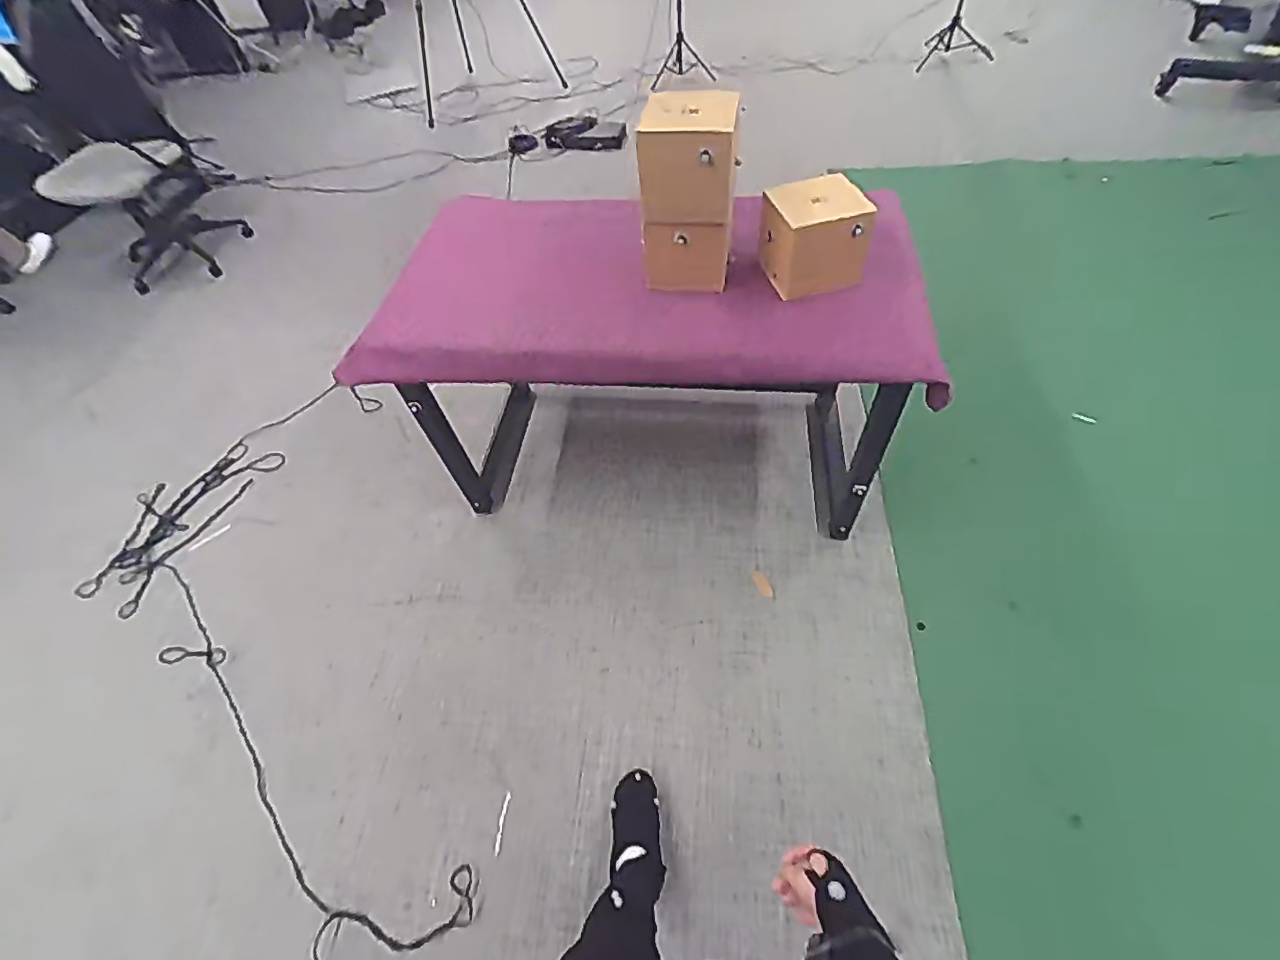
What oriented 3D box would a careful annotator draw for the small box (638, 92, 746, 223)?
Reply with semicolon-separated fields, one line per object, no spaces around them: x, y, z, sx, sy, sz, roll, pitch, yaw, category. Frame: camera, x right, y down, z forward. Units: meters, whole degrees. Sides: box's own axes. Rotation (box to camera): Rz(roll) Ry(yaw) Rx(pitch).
0.103;-0.619;1.046;0.179;0.176;0.168;7;55;11;small box

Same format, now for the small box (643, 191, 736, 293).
0.111;-0.531;1.185;0.179;0.176;0.168;7;56;10;small box

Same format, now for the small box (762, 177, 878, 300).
0.366;-0.505;1.141;0.179;0.176;0.168;-13;54;-3;small box
